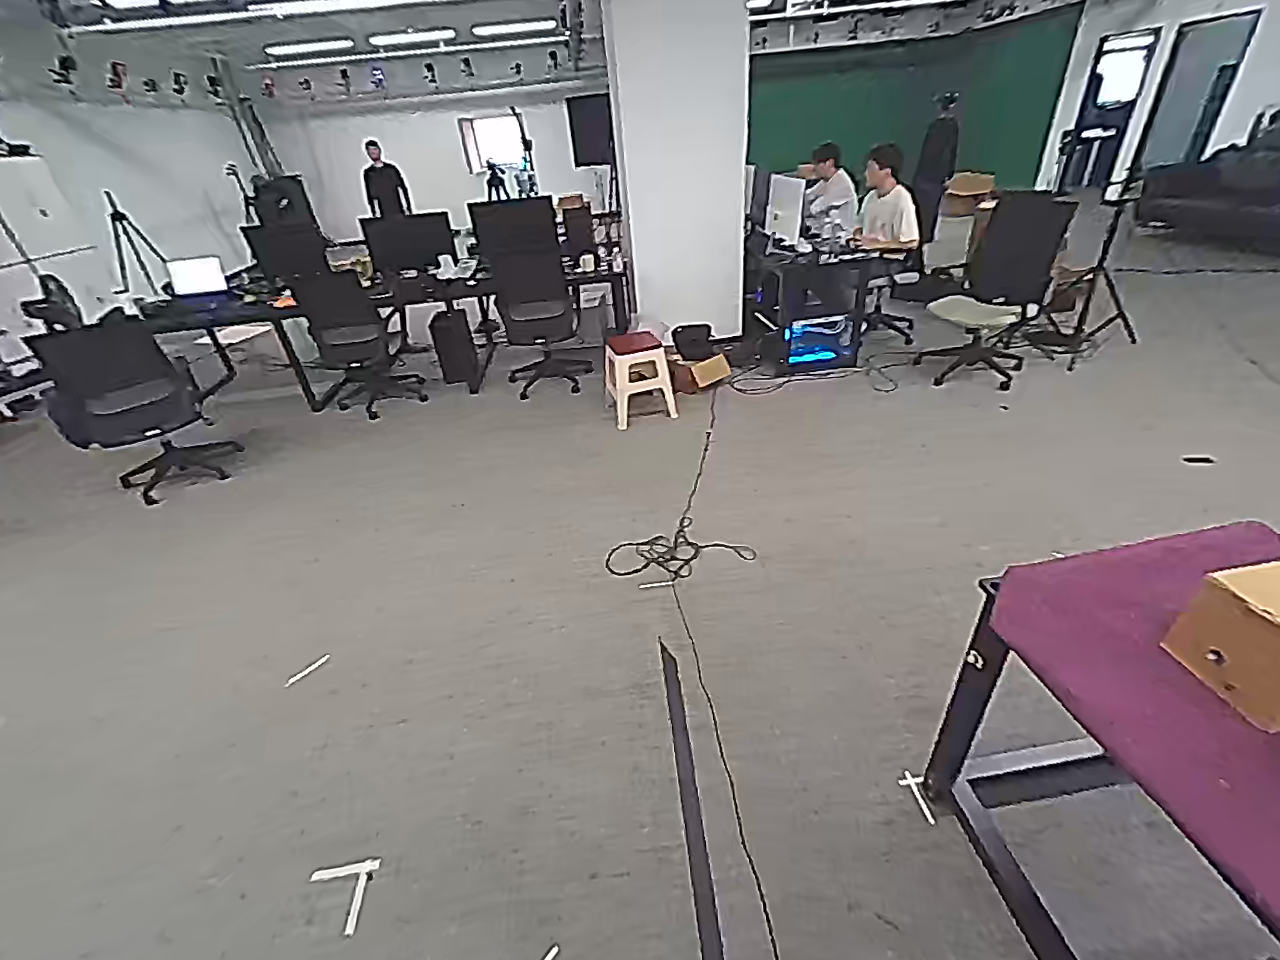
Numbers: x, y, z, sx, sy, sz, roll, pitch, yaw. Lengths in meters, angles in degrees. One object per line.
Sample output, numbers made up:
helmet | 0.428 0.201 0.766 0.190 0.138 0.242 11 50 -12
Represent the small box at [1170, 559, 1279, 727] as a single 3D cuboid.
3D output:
small box | 0.971 0.238 0.808 0.179 0.176 0.168 -10 34 -3
